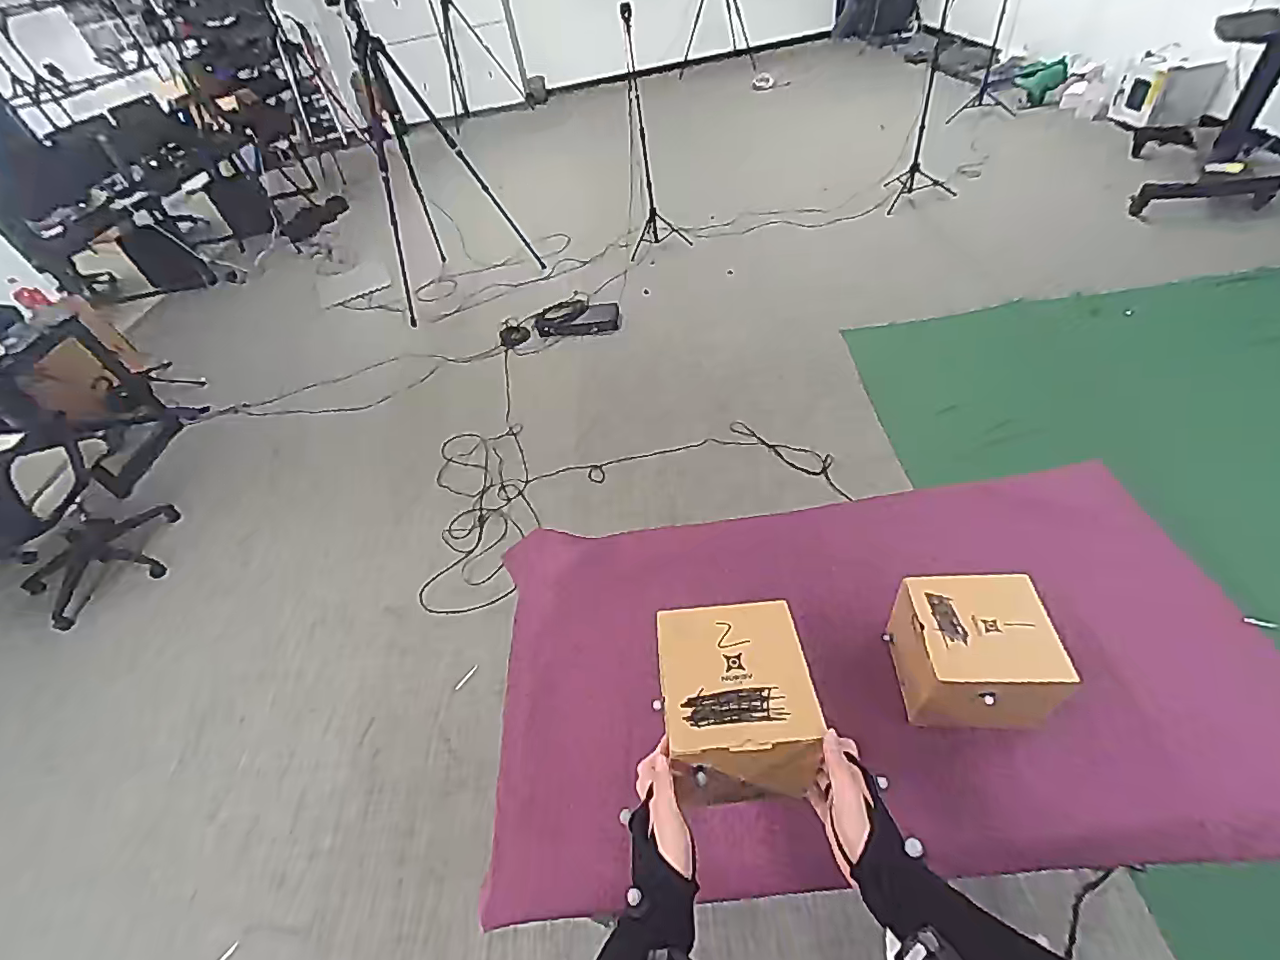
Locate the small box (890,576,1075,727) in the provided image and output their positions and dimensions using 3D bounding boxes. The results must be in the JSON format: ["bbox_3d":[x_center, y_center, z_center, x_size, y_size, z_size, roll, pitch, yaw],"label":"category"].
[{"bbox_3d":[0.493,0.261,0.818,0.179,0.176,0.168,-2,47,8],"label":"small box"}]
